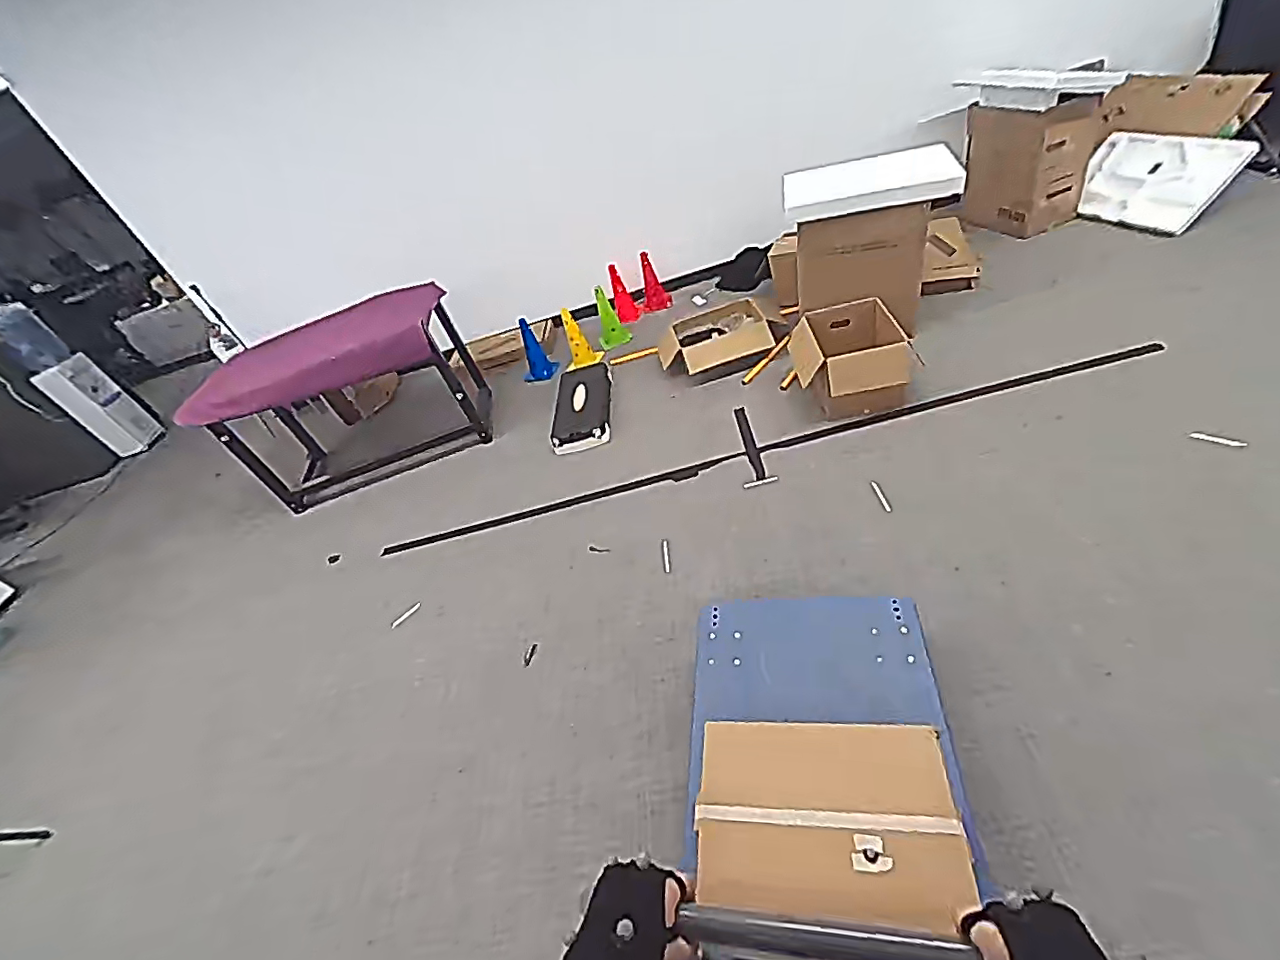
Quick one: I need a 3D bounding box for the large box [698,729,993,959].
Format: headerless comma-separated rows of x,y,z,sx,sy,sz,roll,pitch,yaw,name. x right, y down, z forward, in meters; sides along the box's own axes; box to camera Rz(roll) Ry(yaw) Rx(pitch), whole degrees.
0.330,0.665,0.960,0.408,0.320,0.320,-6,42,16,large box
